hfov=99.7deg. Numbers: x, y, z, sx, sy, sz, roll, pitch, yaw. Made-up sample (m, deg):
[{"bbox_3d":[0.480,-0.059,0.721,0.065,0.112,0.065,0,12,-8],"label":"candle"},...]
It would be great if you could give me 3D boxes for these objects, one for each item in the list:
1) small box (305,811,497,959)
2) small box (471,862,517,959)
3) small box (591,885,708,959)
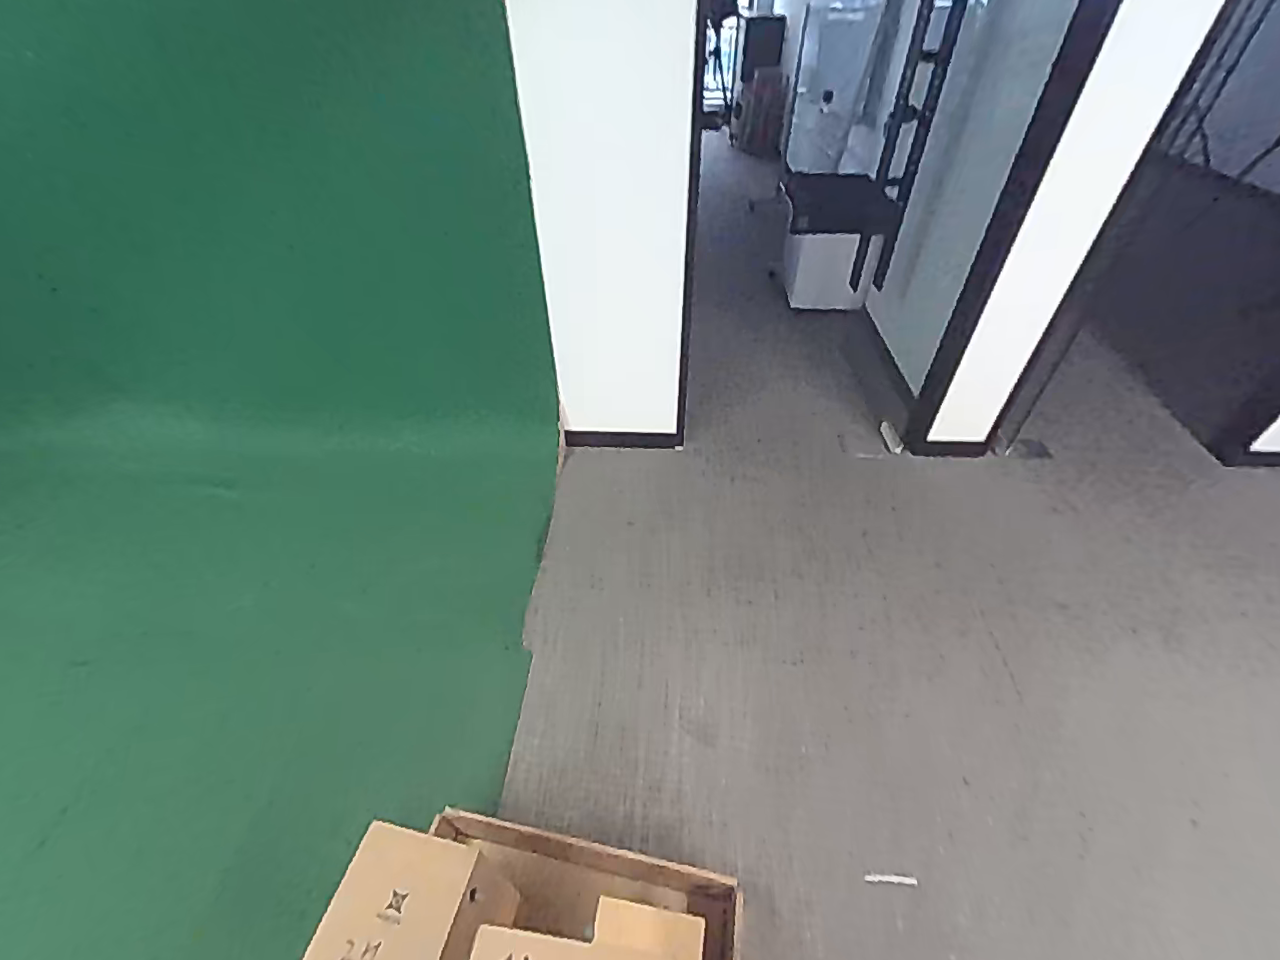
[{"bbox_3d":[-0.315,0.606,0.761,0.168,0.176,0.179,9,46,9],"label":"small box"},{"bbox_3d":[-0.311,0.722,0.878,0.168,0.176,0.179,11,47,10],"label":"small box"},{"bbox_3d":[0.008,0.761,0.831,0.168,0.176,0.179,7,45,9],"label":"small box"}]
